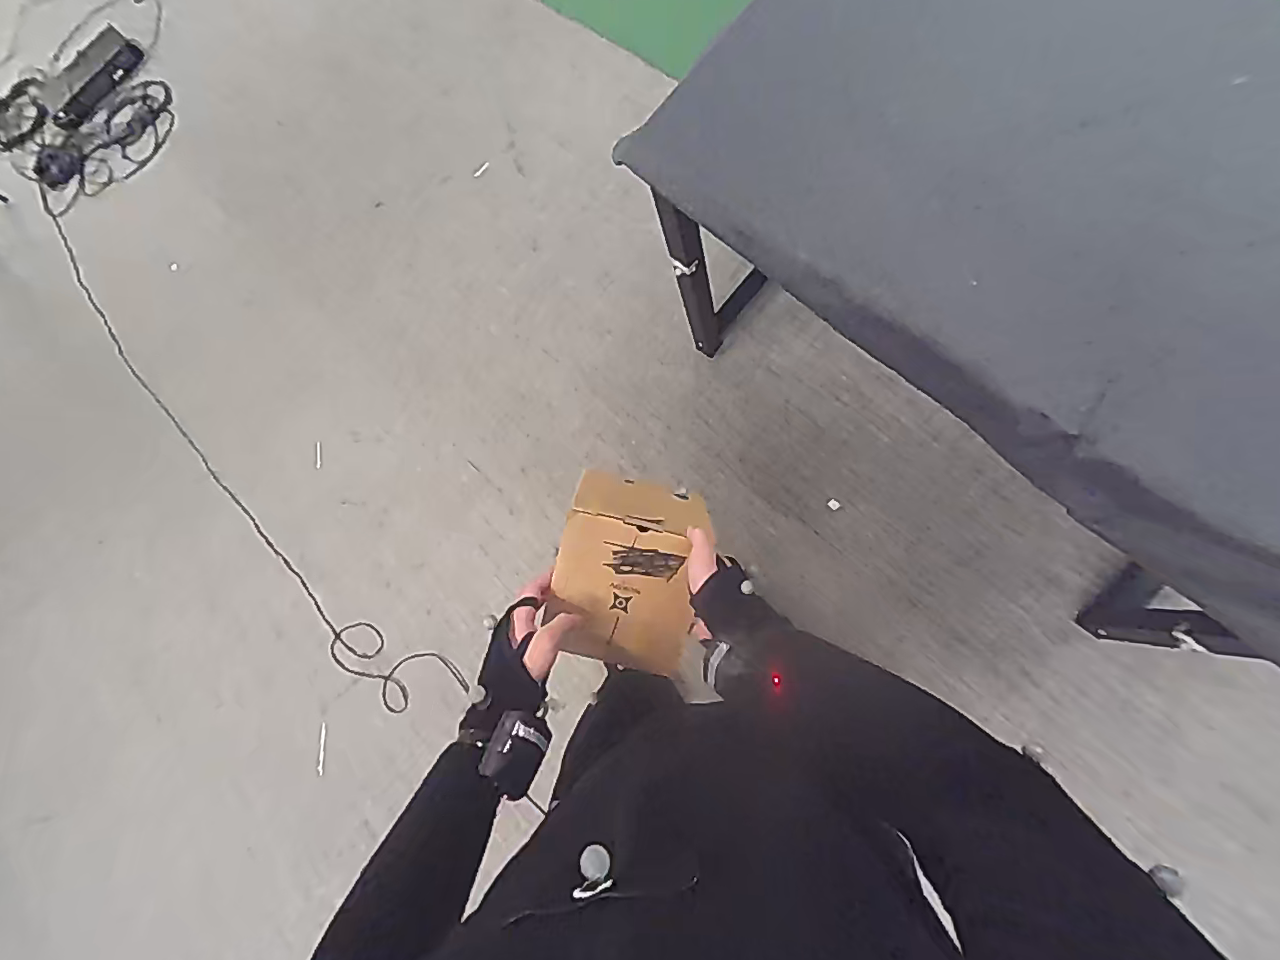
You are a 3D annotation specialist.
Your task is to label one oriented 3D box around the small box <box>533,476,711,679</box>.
[{"bbox_3d":[-0.021,0.108,0.673,0.168,0.176,0.179,14,106,-2],"label":"small box"}]
